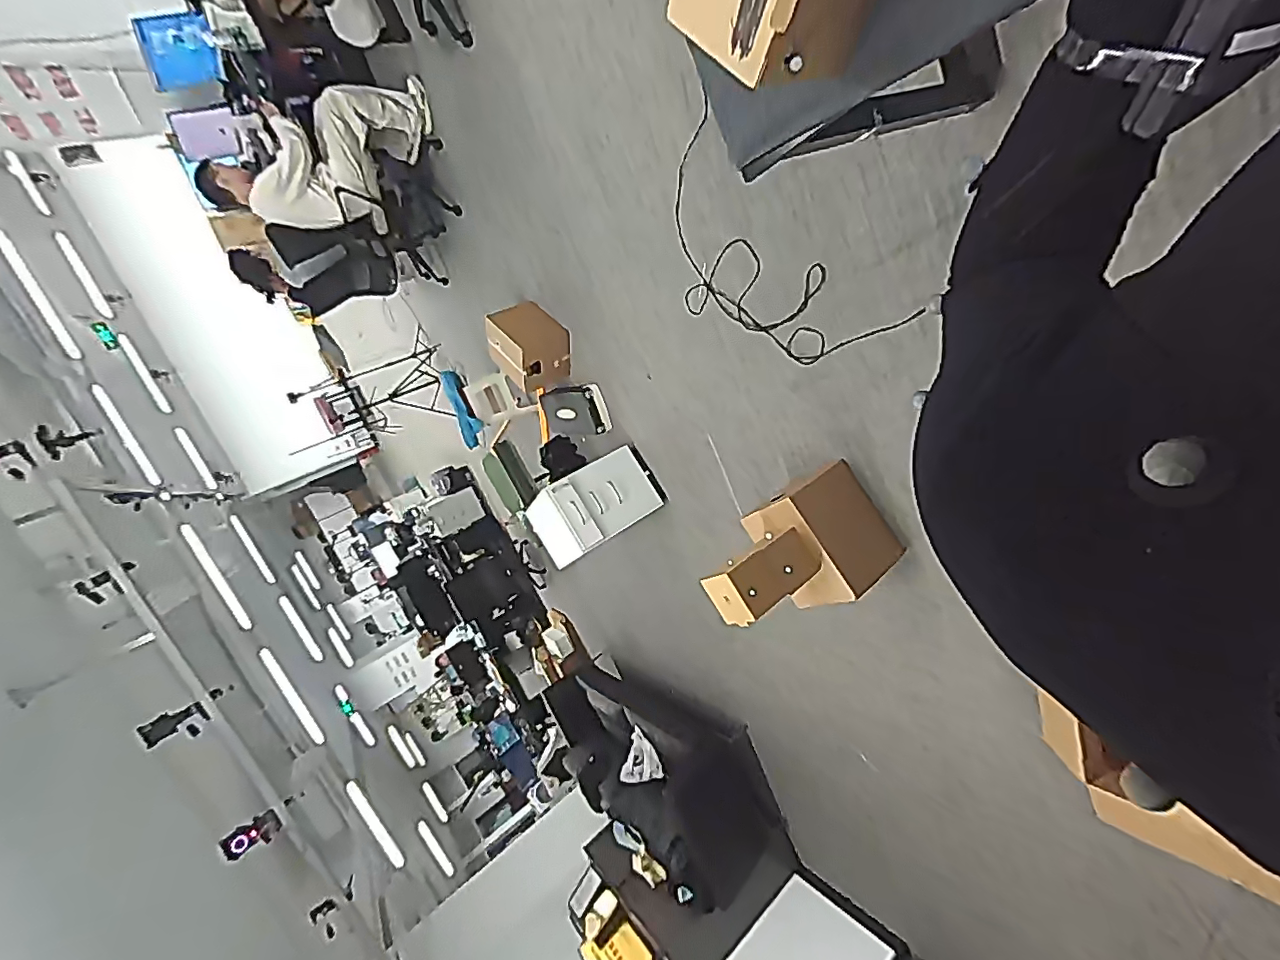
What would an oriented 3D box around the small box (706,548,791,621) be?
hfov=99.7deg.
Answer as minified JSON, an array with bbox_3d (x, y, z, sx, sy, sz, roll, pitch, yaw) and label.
[{"bbox_3d":[0.359,0.340,1.779,0.179,0.176,0.168,58,151,3],"label":"small box"}]

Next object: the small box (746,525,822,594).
[{"bbox_3d":[0.489,0.280,1.857,0.179,0.176,0.168,58,151,4],"label":"small box"}]
